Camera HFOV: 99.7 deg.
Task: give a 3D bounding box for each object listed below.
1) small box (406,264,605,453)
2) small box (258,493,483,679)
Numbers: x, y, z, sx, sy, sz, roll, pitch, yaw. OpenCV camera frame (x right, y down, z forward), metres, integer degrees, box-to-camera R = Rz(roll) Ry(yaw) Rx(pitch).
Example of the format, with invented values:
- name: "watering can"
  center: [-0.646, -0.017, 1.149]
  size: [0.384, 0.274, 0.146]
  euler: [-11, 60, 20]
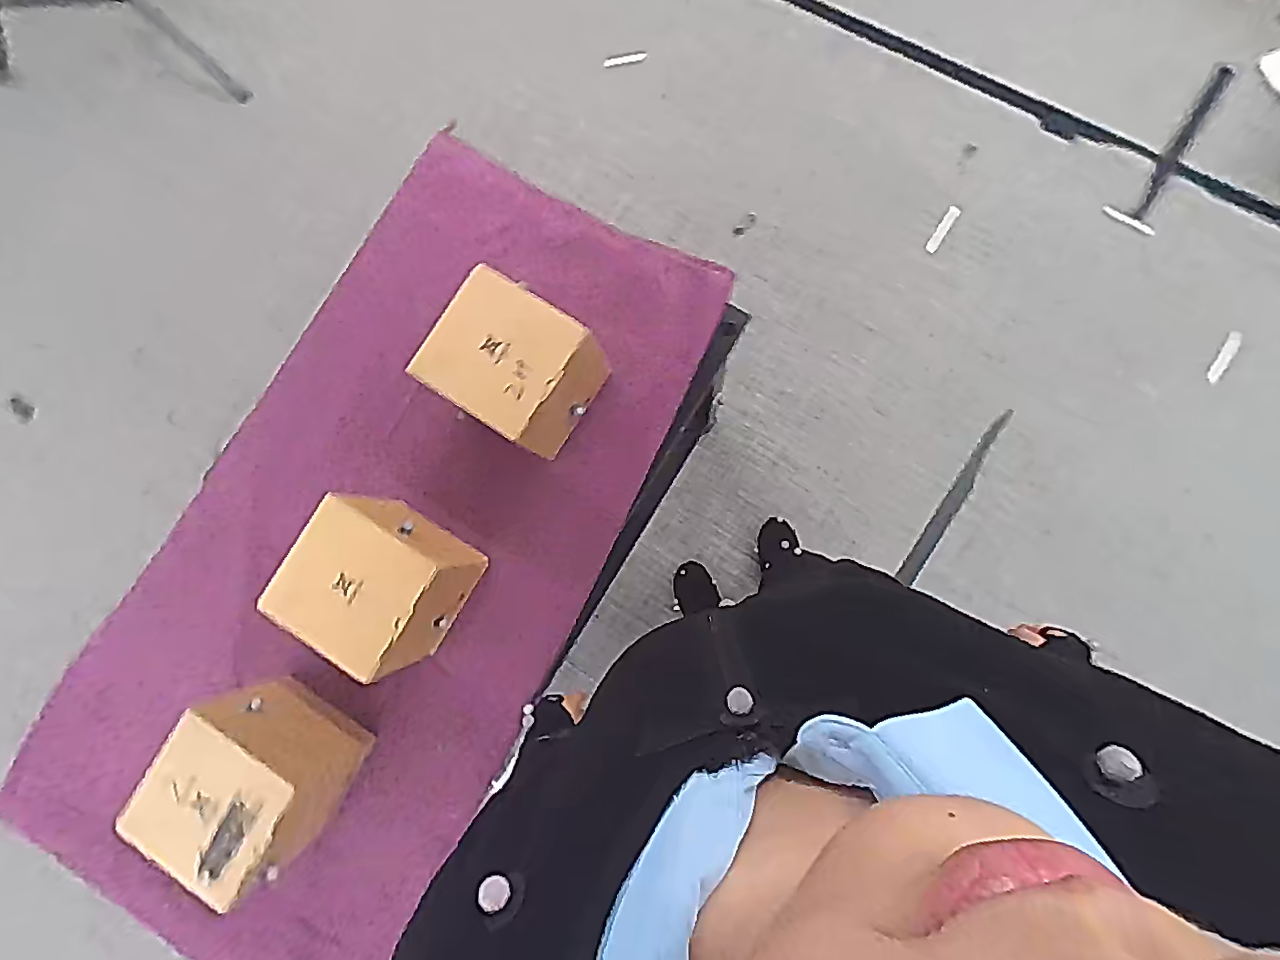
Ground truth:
- name: "small box"
  center: [-0.171, -0.153, 0.745]
  size: [0.179, 0.176, 0.168]
  euler: [33, 89, 8]
- name: "small box"
  center: [-0.349, 0.137, 0.735]
  size: [0.179, 0.176, 0.168]
  euler: [31, 87, 7]
